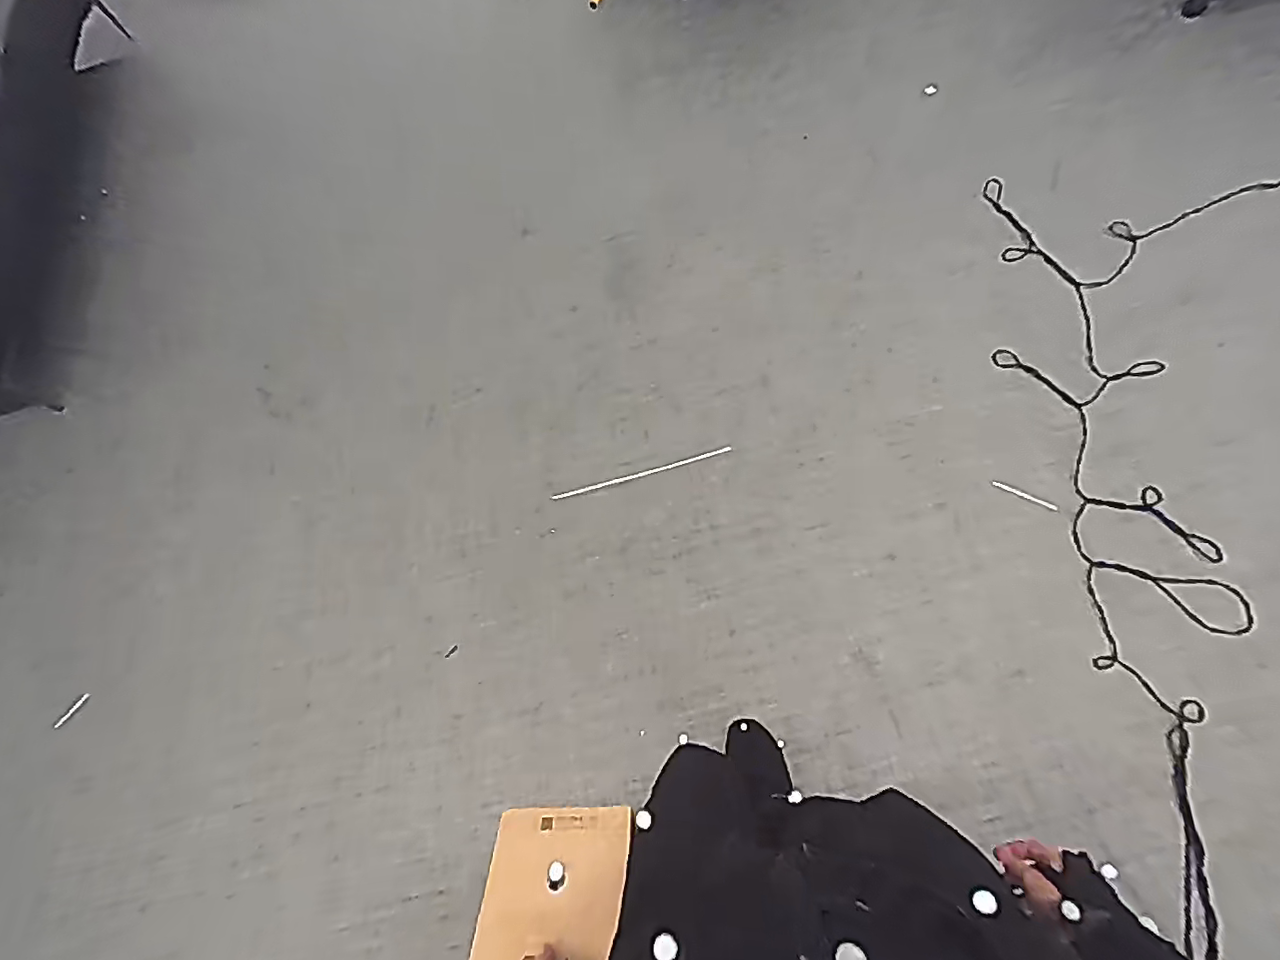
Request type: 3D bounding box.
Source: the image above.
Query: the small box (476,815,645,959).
[{"bbox_3d":[-0.084,0.527,0.647,0.168,0.179,0.176,-5,32,5],"label":"small box"}]
